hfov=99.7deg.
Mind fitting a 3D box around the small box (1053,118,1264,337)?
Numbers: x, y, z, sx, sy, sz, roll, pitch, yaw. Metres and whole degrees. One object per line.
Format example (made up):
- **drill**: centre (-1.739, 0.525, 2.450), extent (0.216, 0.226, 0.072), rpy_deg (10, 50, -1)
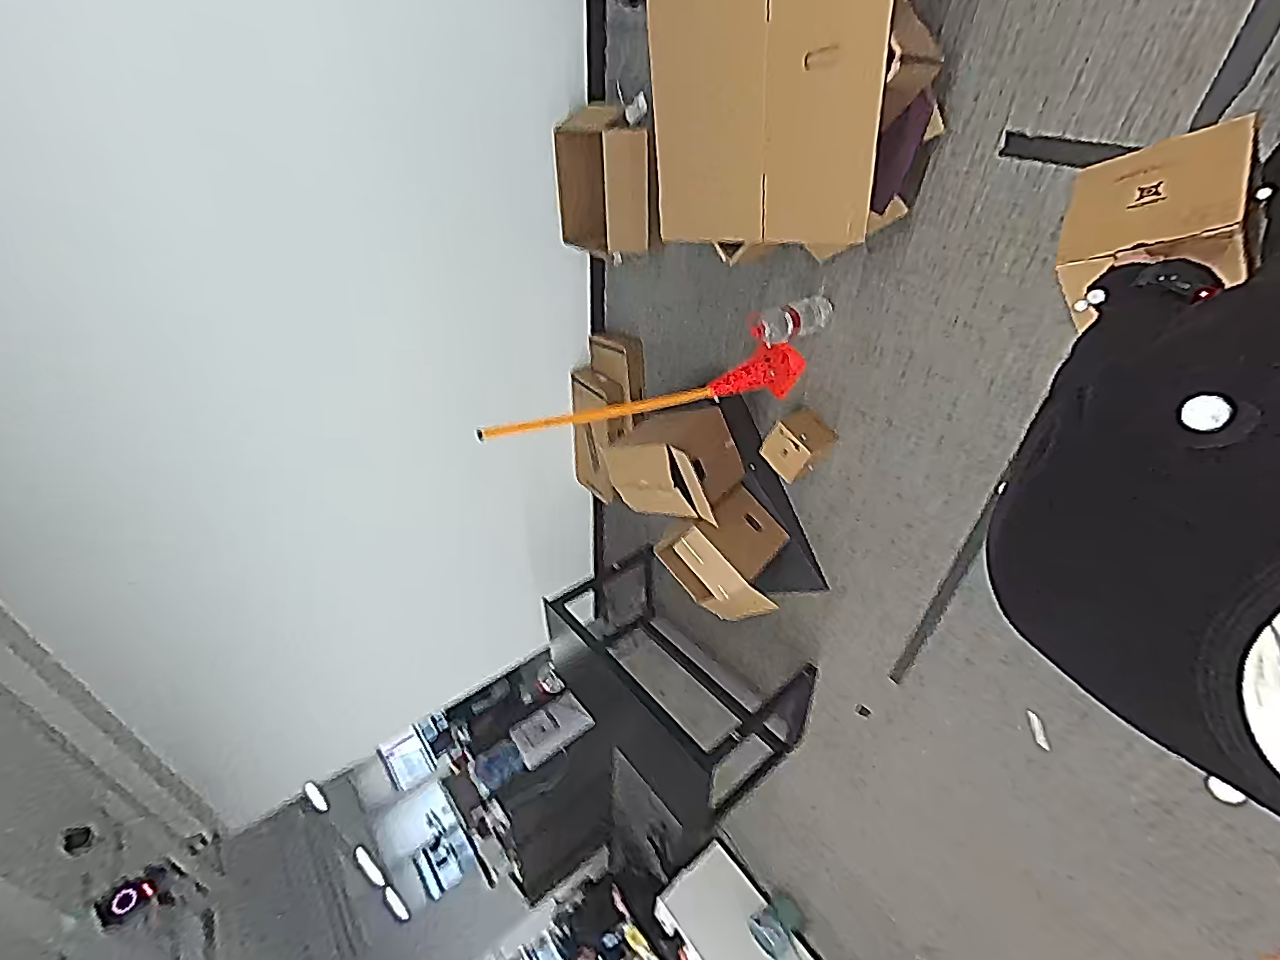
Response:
- **small box**: centre (0.674, -0.304, 0.701), extent (0.176, 0.179, 0.168), rpy_deg (36, 162, -34)
